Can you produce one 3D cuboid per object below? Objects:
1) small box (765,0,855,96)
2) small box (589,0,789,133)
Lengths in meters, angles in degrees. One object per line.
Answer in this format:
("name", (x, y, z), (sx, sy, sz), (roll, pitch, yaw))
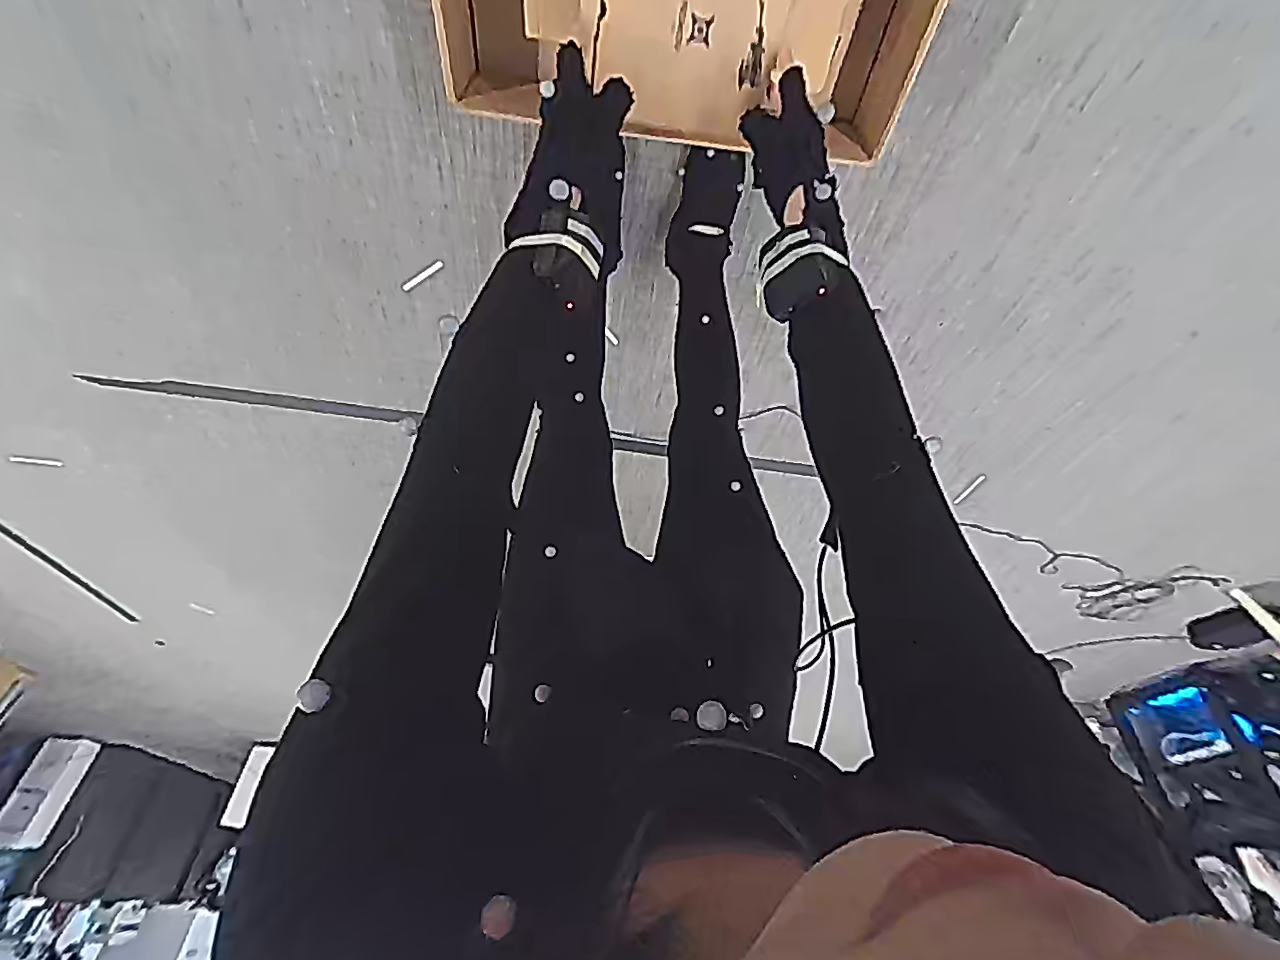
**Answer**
("small box", (0.166, -0.616, 0.681), (0.179, 0.176, 0.168), (7, 140, -2))
("small box", (0.044, -0.487, 0.552), (0.179, 0.176, 0.168), (4, 138, -8))
